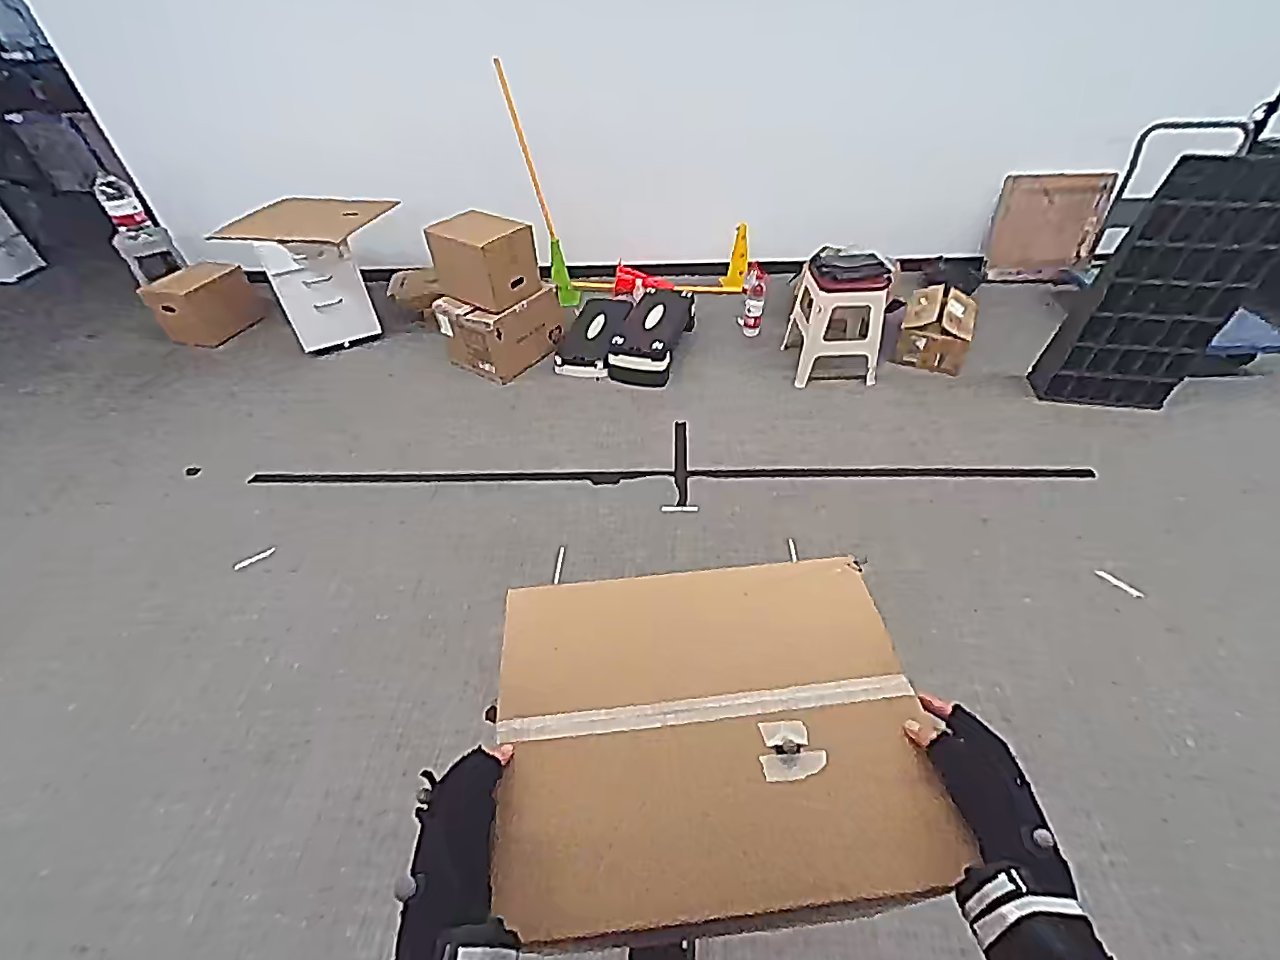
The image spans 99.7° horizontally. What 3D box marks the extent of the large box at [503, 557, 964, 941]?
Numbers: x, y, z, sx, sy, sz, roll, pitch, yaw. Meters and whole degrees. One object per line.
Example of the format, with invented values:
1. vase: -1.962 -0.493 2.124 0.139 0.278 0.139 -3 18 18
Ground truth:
1. large box: 0.069 0.326 0.658 0.408 0.320 0.320 -5 48 -3
